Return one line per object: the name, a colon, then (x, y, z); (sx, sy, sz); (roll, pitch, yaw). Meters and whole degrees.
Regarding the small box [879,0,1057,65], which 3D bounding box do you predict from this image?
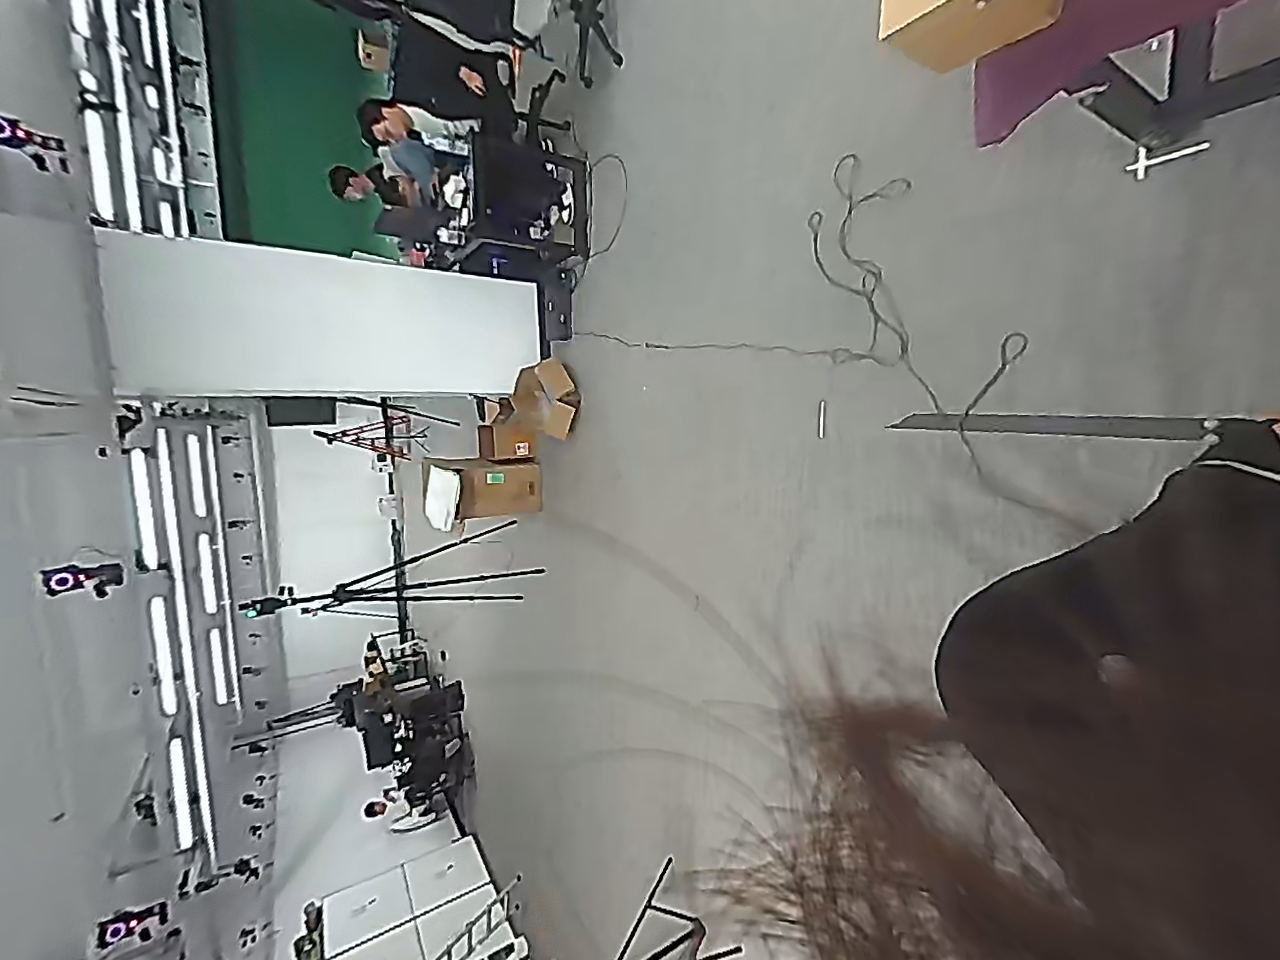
small box: (0.475, -0.742, 0.772); (0.179, 0.176, 0.168); (14, 106, 55)
